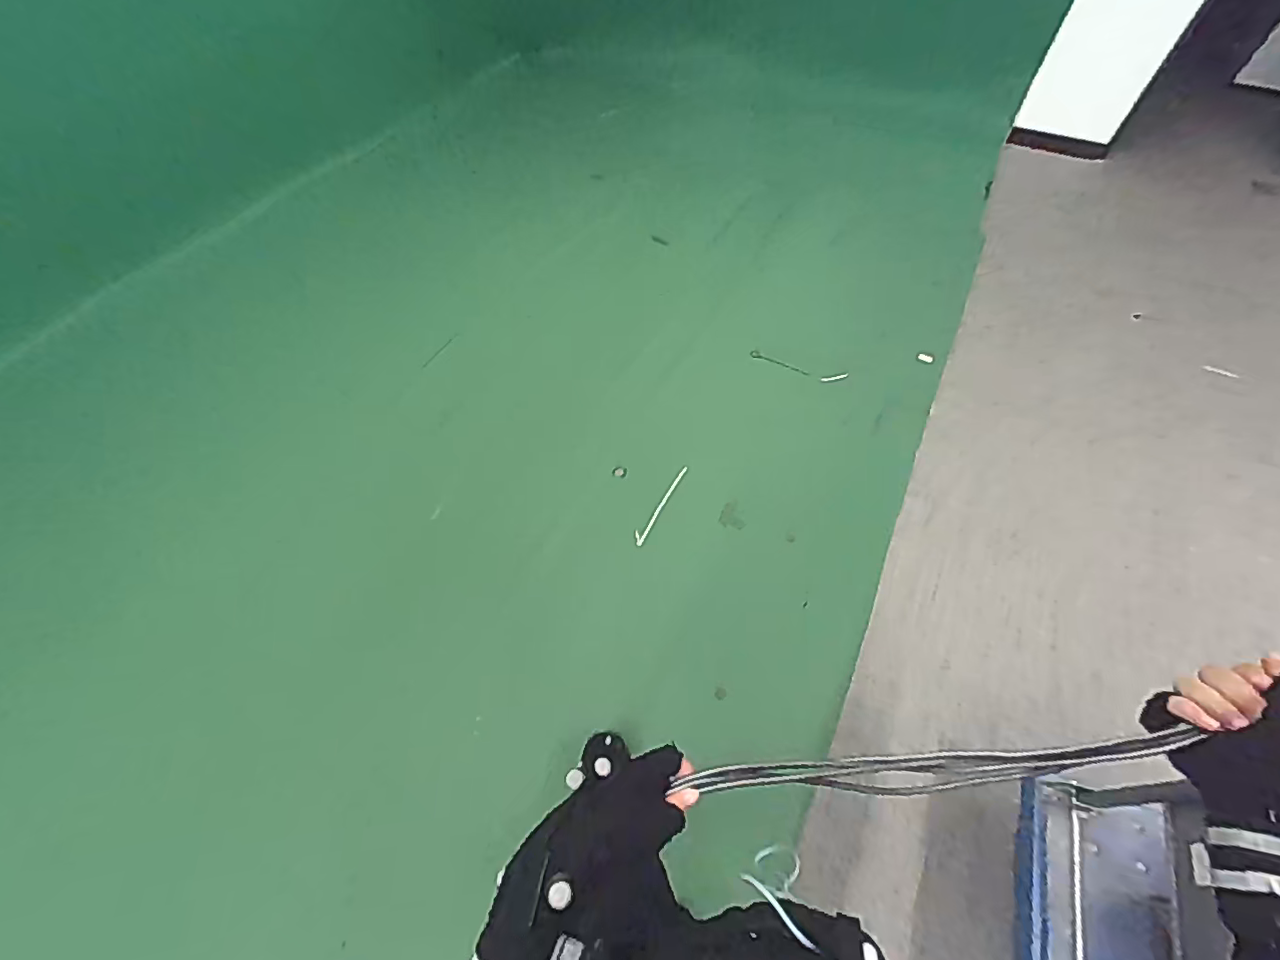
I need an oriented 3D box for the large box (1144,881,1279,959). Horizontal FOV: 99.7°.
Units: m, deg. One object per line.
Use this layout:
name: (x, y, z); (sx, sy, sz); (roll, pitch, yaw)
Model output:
large box: (1.086, 0.838, 0.778); (0.320, 0.320, 0.408); (0, 56, 0)
